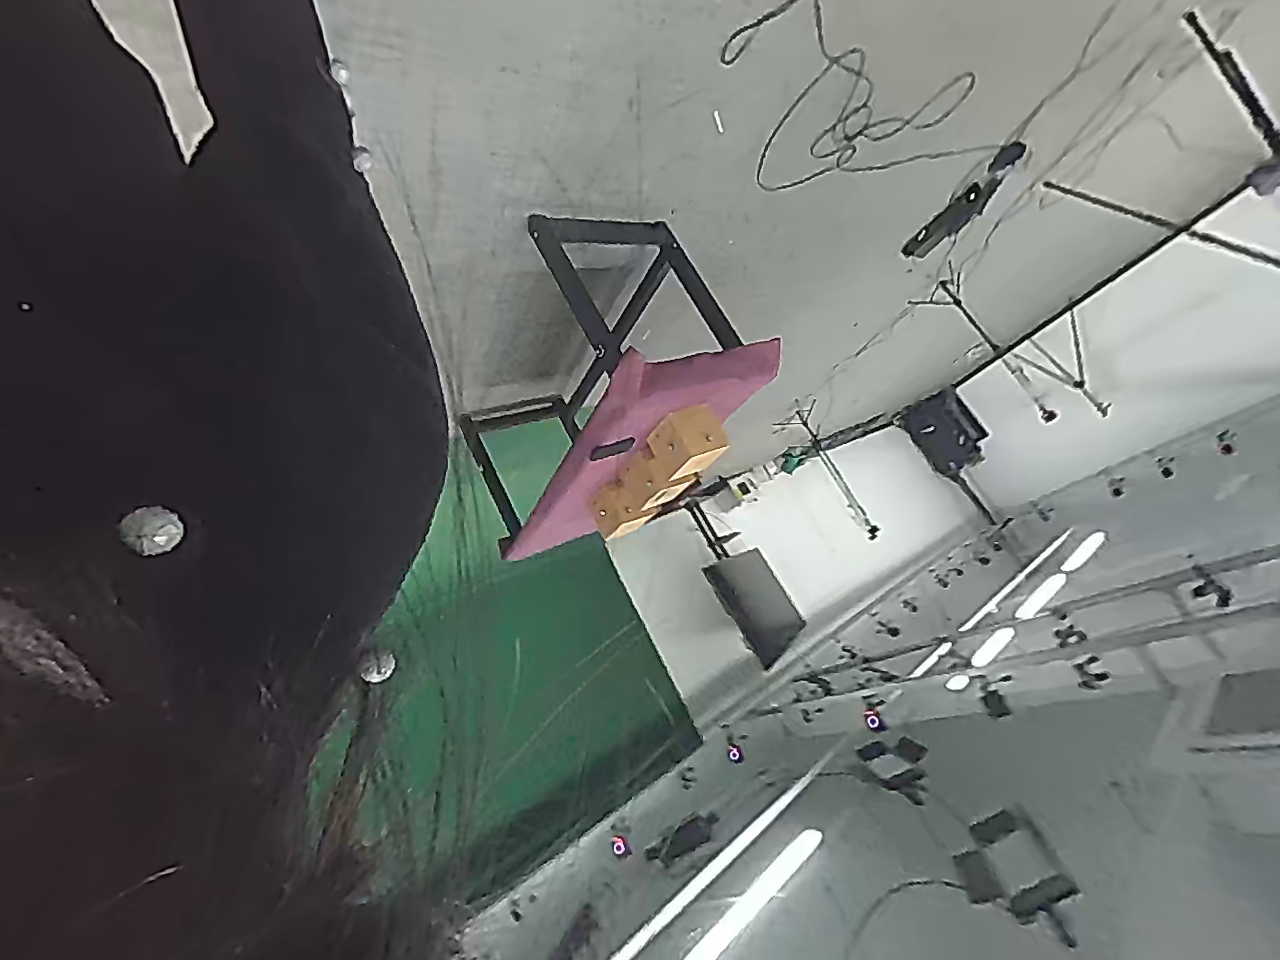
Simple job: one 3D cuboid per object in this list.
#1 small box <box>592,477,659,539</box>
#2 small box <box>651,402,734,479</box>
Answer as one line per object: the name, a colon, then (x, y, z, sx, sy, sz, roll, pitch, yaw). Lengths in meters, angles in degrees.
small box: (-0.064, 0.108, 2.139, 0.179, 0.176, 0.168, -16, 161, -40)
small box: (0.164, -0.131, 1.763, 0.179, 0.176, 0.168, -19, 162, -34)
